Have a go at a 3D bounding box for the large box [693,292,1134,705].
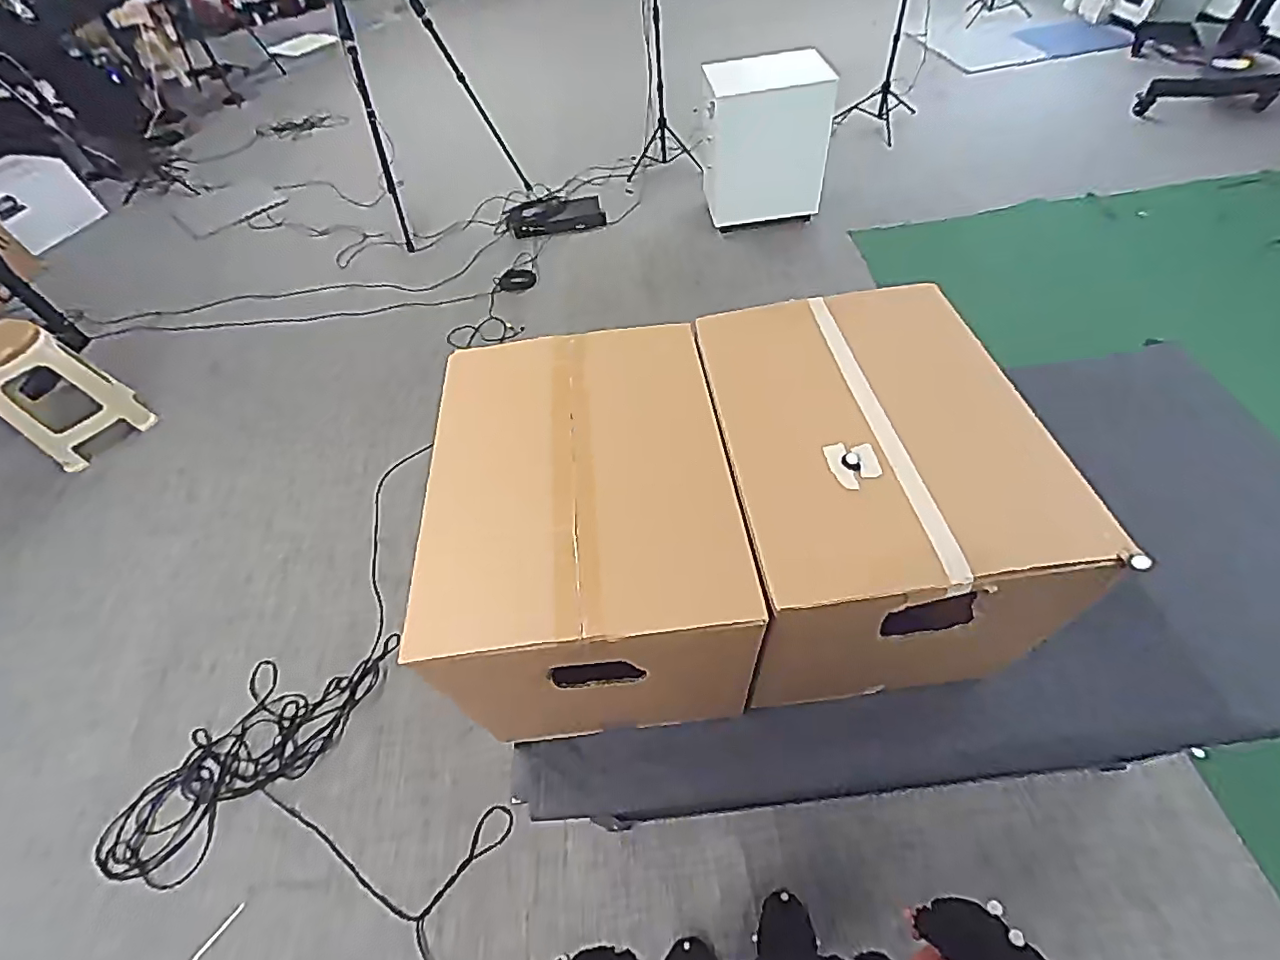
[{"bbox_3d":[0.256,0.024,0.692,0.320,0.320,0.408,-9,53,1],"label":"large box"}]
